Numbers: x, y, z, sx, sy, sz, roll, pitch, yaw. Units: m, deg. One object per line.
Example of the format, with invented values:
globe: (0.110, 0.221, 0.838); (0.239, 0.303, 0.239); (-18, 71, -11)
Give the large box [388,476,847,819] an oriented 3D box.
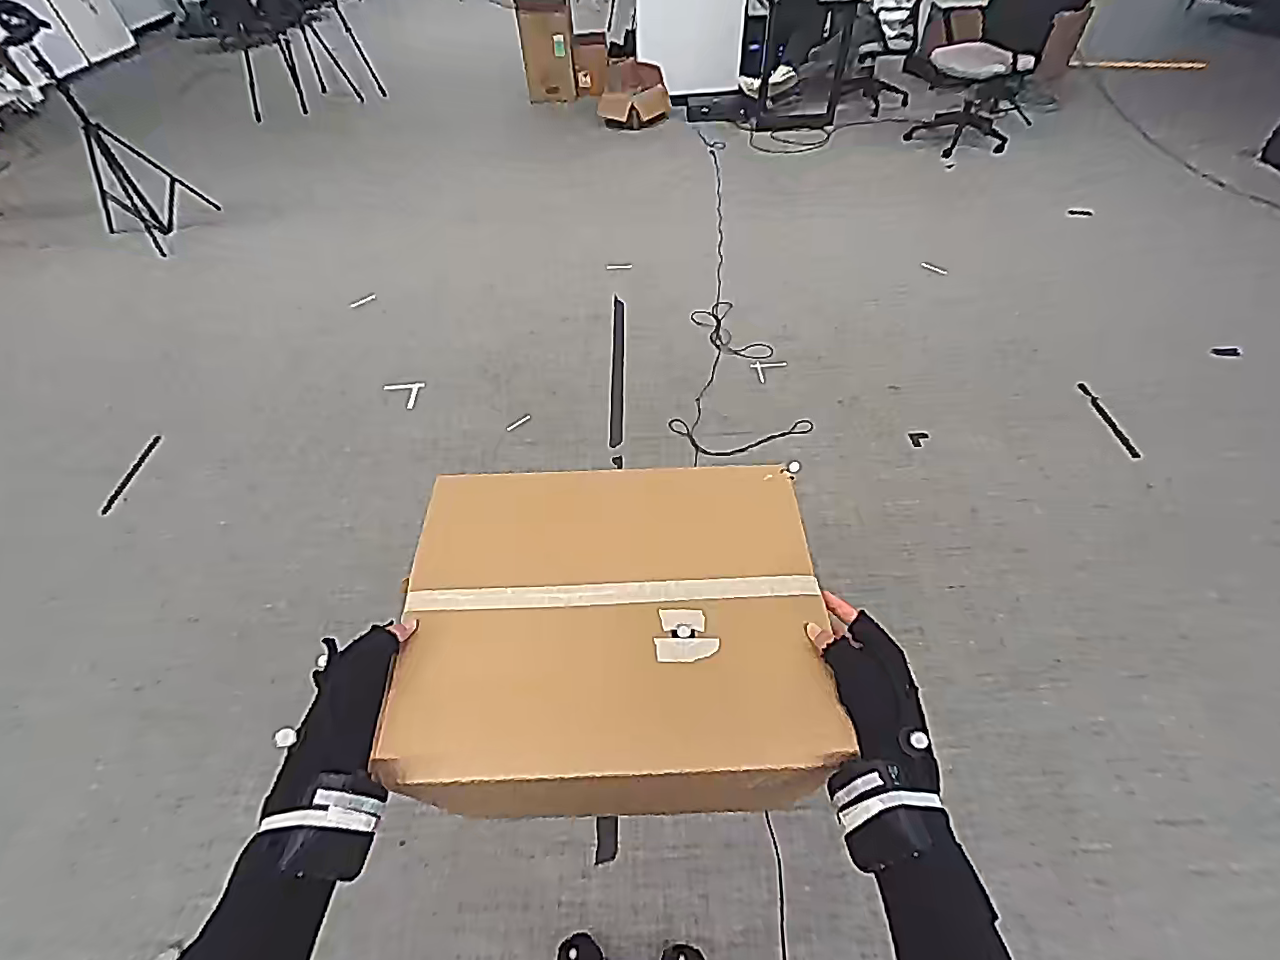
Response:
large box: (-0.025, 0.214, 0.667); (0.408, 0.320, 0.320); (-2, 54, -1)
